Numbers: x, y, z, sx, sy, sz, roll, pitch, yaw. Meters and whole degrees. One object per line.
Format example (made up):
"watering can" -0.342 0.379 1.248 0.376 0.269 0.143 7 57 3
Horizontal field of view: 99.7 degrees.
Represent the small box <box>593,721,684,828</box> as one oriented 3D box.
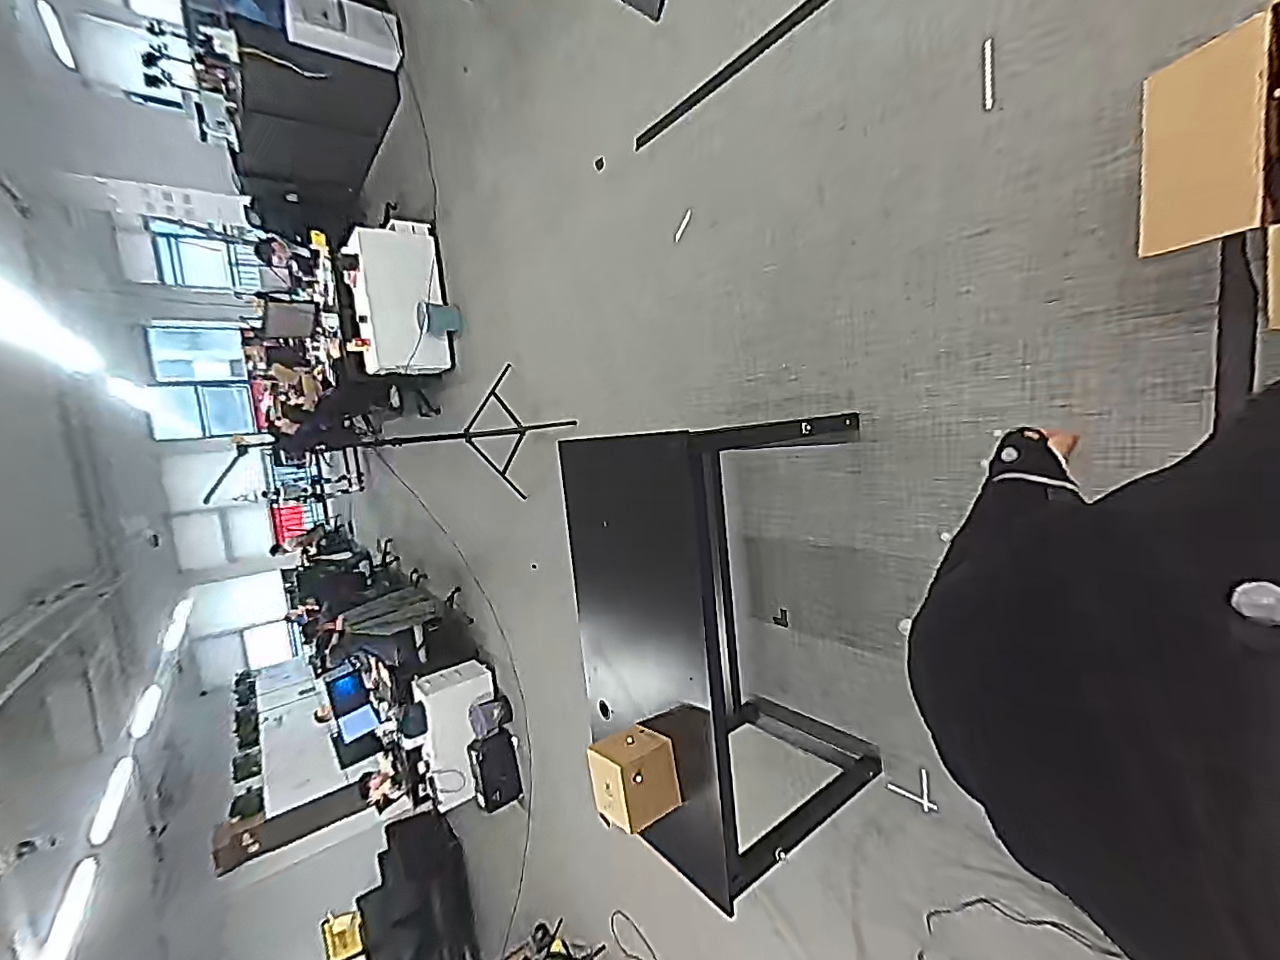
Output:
"small box" -0.003 0.779 1.453 0.168 0.176 0.179 -10 90 55
